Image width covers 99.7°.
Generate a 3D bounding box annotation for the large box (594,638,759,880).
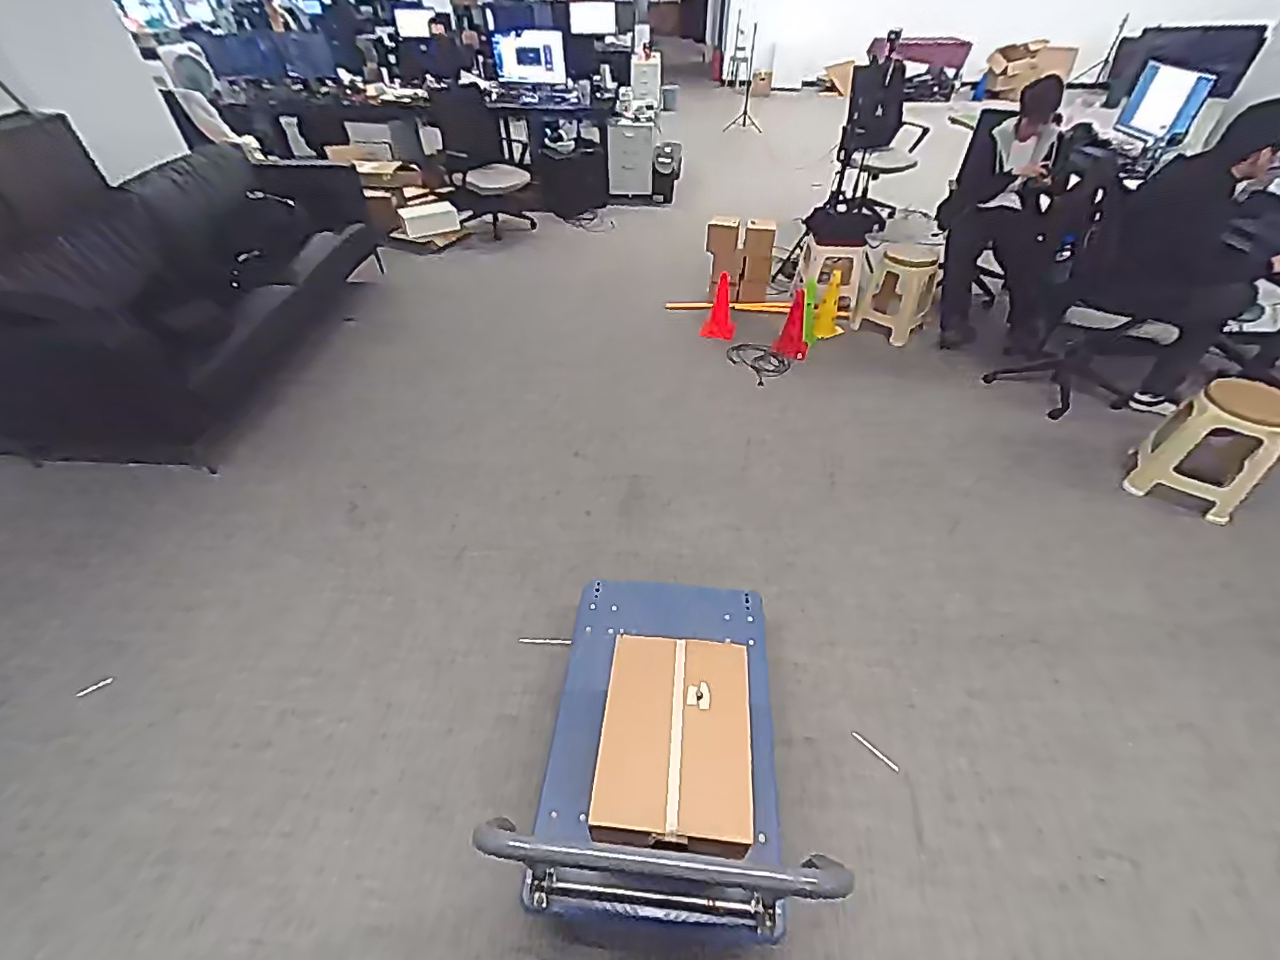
[{"bbox_3d":[0.084,0.628,1.234,0.320,0.320,0.408,4,43,4],"label":"large box"}]
